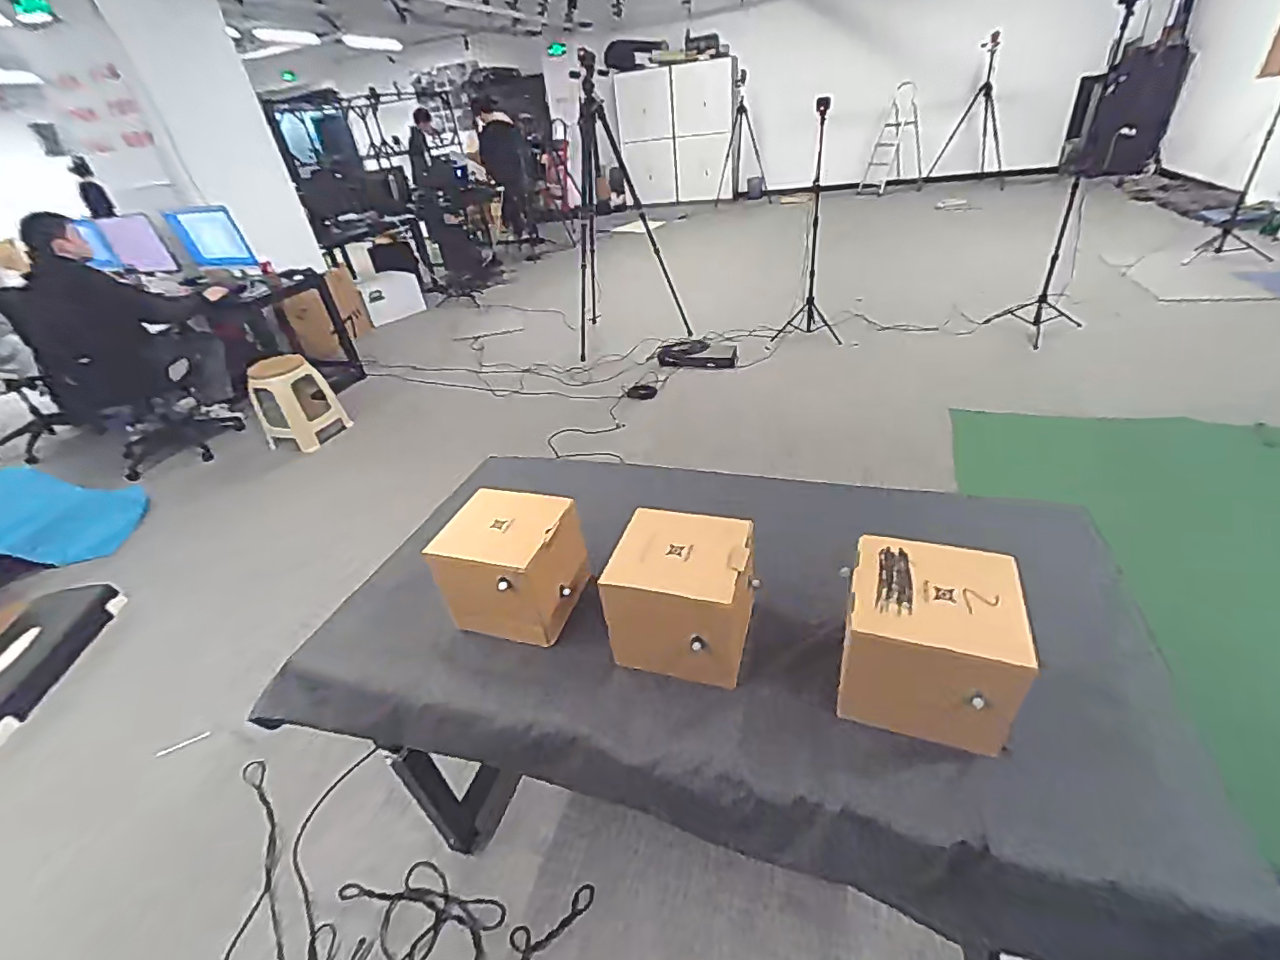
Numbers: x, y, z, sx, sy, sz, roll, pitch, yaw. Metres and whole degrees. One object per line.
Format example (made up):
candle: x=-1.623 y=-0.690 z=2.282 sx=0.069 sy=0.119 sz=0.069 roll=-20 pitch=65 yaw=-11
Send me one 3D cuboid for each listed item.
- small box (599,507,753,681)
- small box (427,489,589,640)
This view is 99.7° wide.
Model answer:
small box: x=0.063 y=0.160 z=0.773 sx=0.179 sy=0.176 sz=0.168 roll=4 pitch=35 yaw=20
small box: x=-0.200 y=0.134 z=0.869 sx=0.179 sy=0.176 sz=0.168 roll=5 pitch=36 yaw=18
